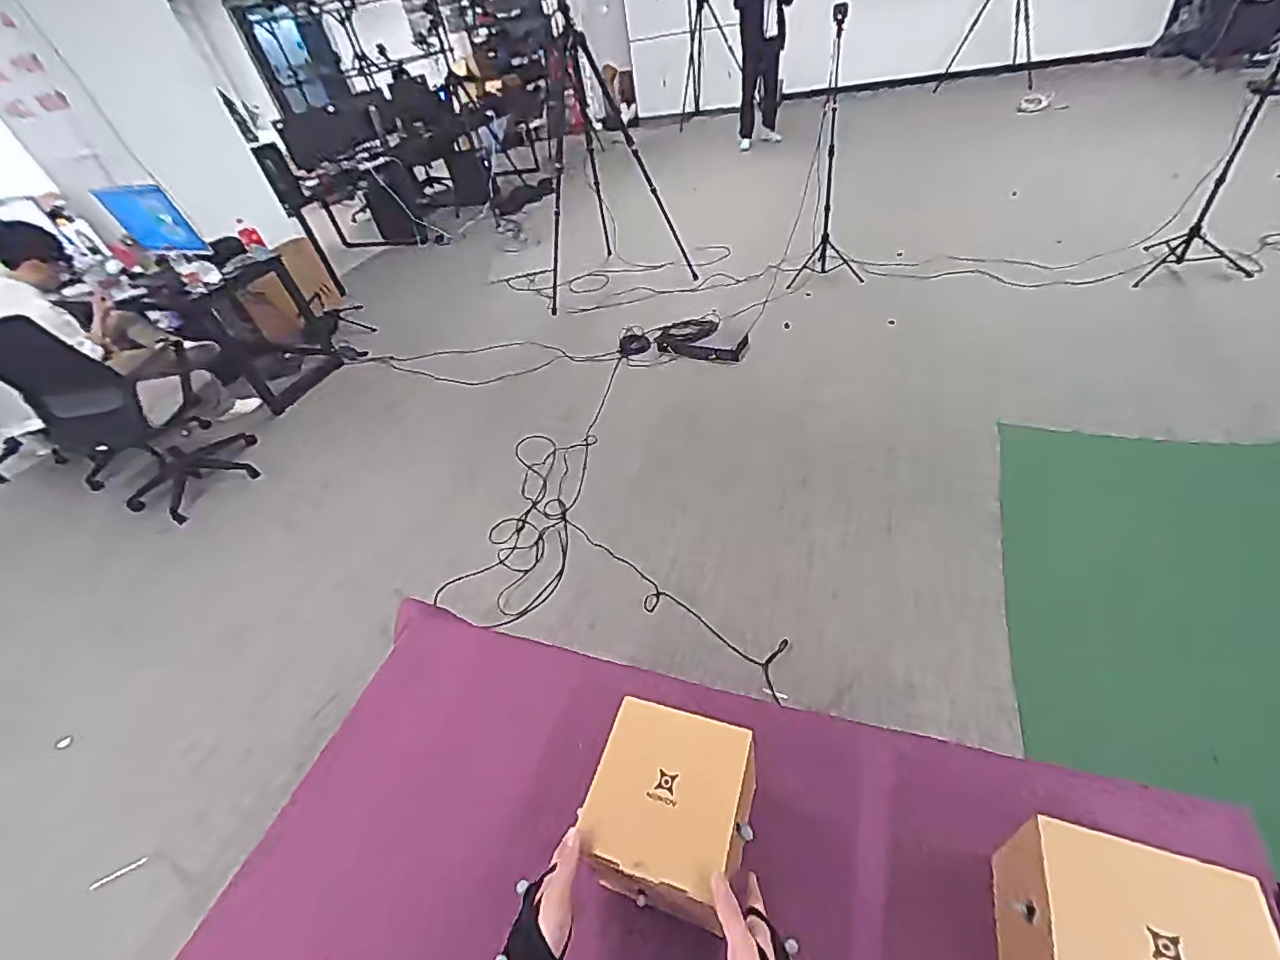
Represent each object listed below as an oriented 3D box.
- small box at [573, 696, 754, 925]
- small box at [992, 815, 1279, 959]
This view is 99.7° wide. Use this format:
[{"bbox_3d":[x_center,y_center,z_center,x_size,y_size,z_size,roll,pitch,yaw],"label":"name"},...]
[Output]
[{"bbox_3d":[0.040,0.402,0.663,0.168,0.176,0.179,8,48,20],"label":"small box"},{"bbox_3d":[0.448,0.459,0.506,0.168,0.176,0.179,8,46,22],"label":"small box"}]
